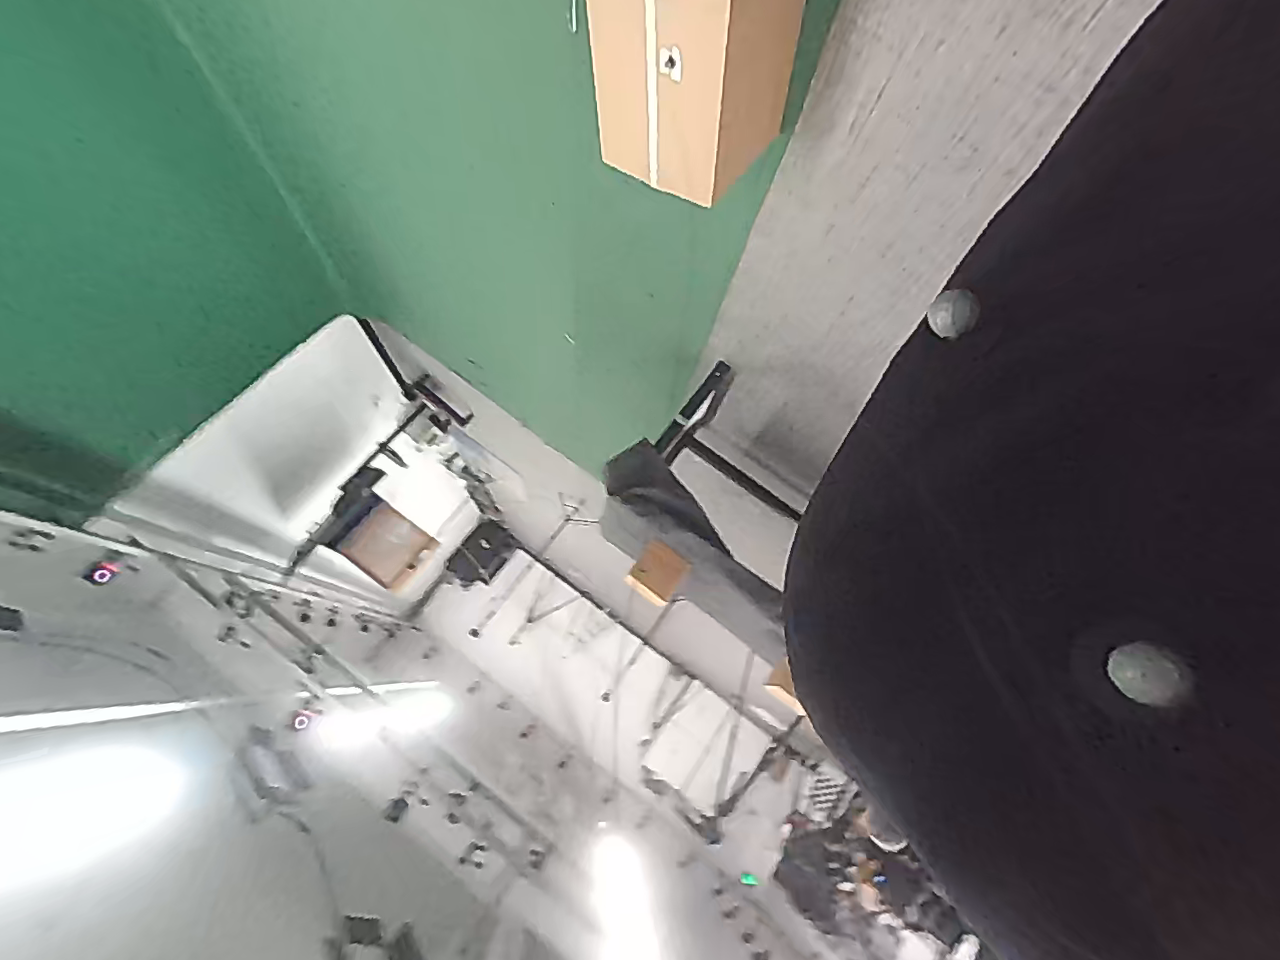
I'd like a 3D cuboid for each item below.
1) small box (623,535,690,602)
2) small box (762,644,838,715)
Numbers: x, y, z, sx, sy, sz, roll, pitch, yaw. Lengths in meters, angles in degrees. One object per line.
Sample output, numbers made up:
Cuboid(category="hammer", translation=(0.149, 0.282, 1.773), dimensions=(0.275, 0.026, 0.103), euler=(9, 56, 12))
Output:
Cuboid(category="small box", translation=(0.060, 0.328, 1.996), dimensions=(0.179, 0.176, 0.168), euler=(37, 162, 4))
Cuboid(category="small box", translation=(0.573, 0.711, 1.936), dimensions=(0.179, 0.176, 0.168), euler=(37, 160, 8))
